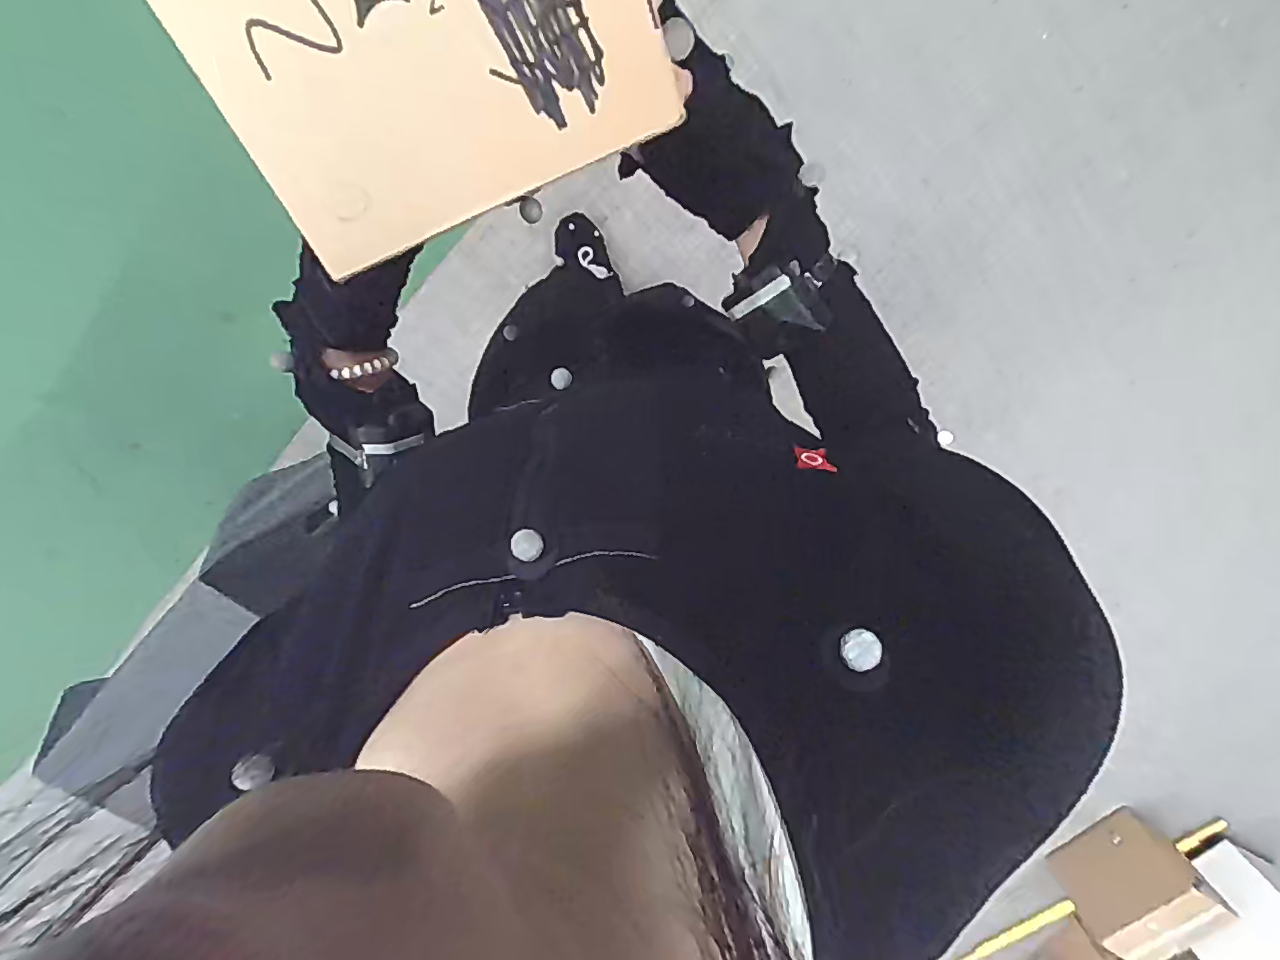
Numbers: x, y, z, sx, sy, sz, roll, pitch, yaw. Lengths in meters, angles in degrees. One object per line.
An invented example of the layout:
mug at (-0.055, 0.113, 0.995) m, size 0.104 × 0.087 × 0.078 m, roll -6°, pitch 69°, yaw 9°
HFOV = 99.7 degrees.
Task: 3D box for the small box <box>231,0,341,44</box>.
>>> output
small box at (-0.714, -0.985, 1.032) m, size 0.168 × 0.176 × 0.179 m, roll -37°, pitch 109°, yaw 14°

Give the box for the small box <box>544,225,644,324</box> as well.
small box at (-0.112, -0.489, 1.278) m, size 0.179 × 0.176 × 0.168 m, roll 23°, pitch 124°, yaw 7°
